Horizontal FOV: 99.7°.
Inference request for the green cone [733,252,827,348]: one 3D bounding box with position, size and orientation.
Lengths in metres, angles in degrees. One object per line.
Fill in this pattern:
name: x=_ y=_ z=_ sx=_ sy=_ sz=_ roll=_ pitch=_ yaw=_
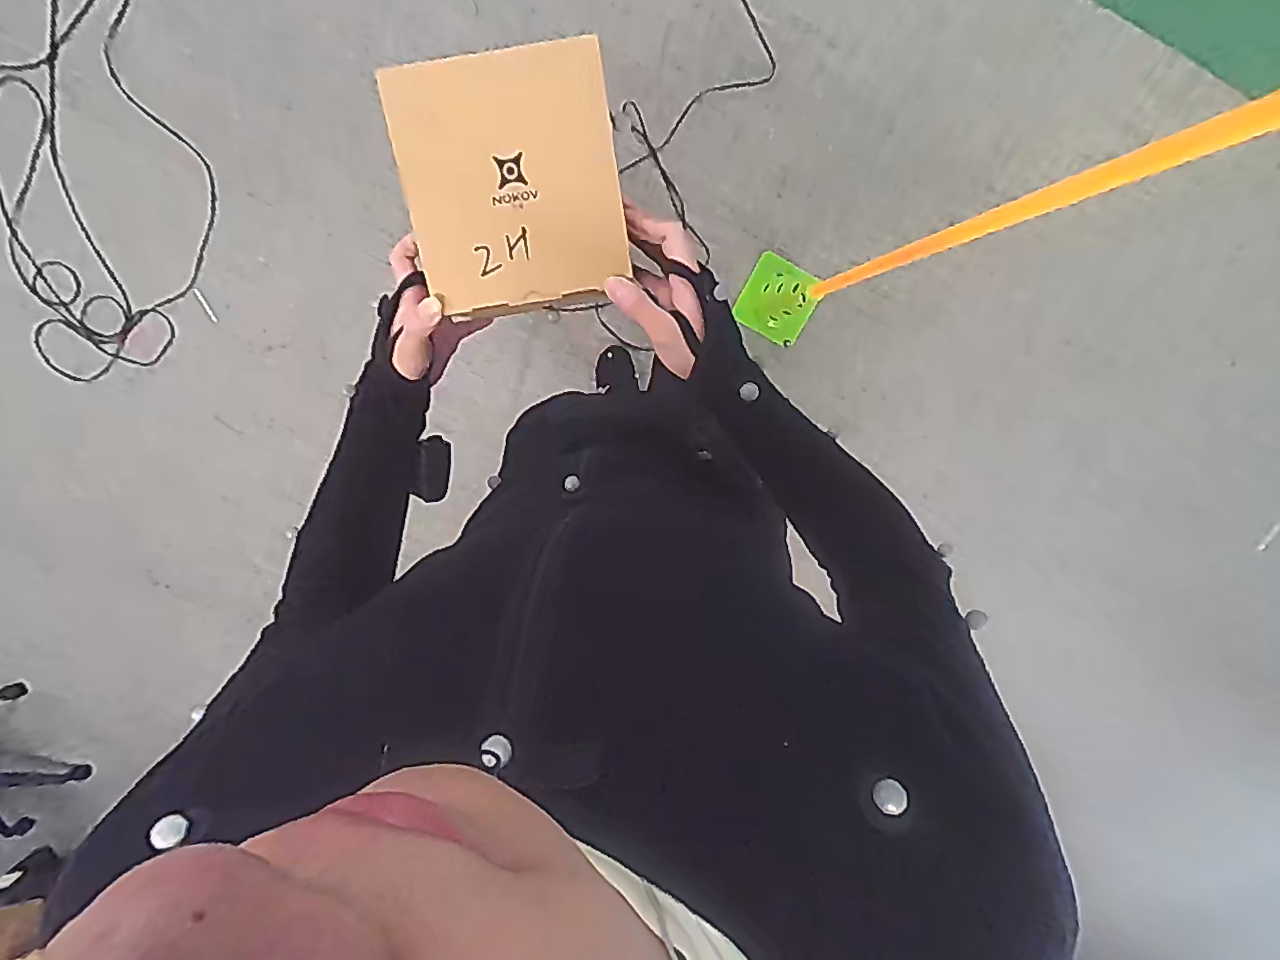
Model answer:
green cone: x=0.378 y=-0.447 z=1.305 sx=0.202 sy=0.368 sz=0.200 roll=27 pitch=103 yaw=-5
